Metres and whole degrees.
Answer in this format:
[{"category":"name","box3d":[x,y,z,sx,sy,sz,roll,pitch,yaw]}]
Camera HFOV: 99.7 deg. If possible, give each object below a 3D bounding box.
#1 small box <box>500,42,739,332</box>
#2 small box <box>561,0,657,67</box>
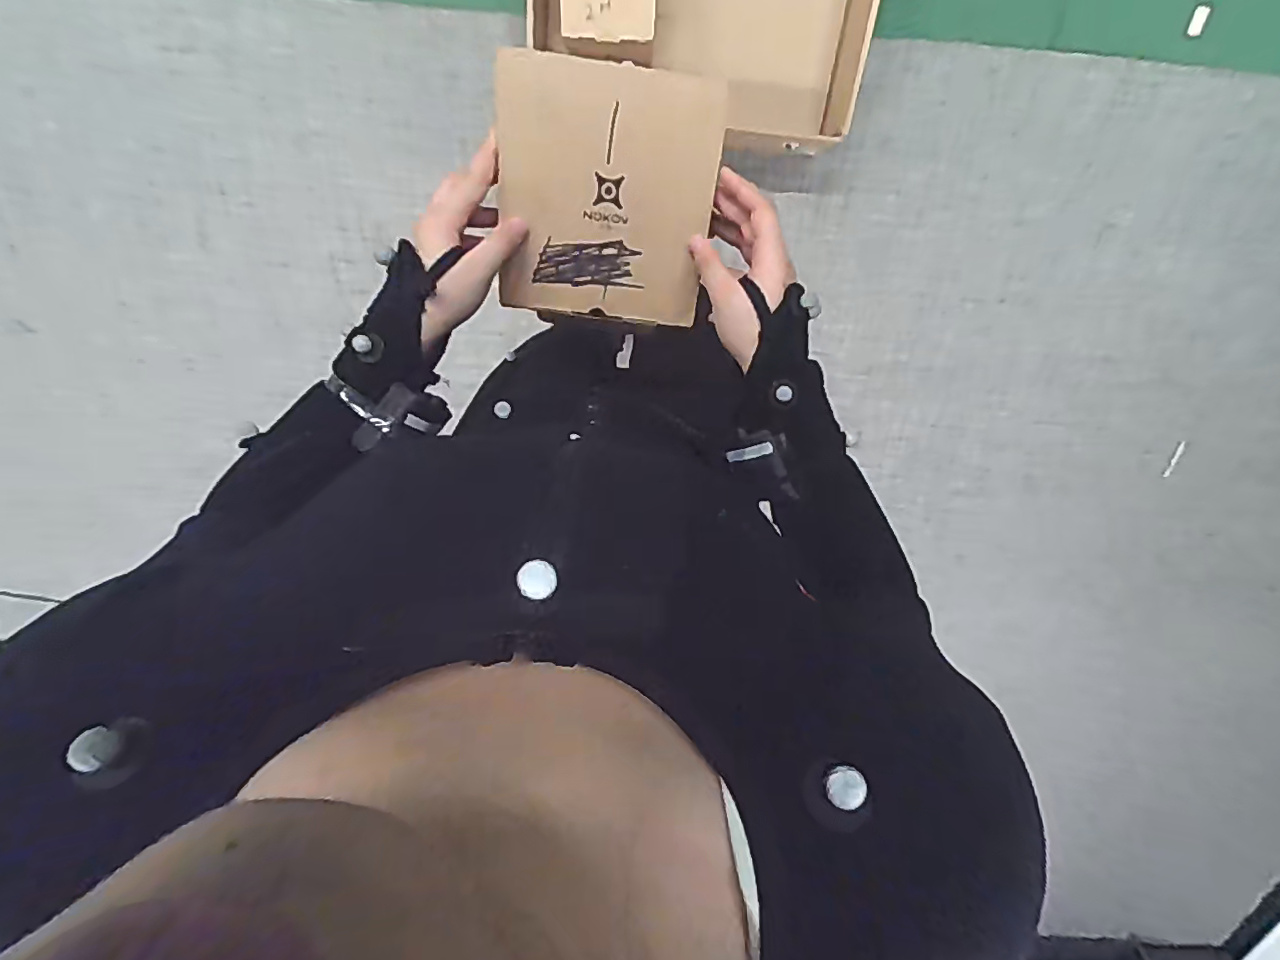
[{"category":"small box","box3d":[-0.024,-0.249,0.481,0.168,0.176,0.179,6,119,-6]},{"category":"small box","box3d":[-0.052,-0.879,0.976,0.168,0.176,0.179,3,116,-1]}]
